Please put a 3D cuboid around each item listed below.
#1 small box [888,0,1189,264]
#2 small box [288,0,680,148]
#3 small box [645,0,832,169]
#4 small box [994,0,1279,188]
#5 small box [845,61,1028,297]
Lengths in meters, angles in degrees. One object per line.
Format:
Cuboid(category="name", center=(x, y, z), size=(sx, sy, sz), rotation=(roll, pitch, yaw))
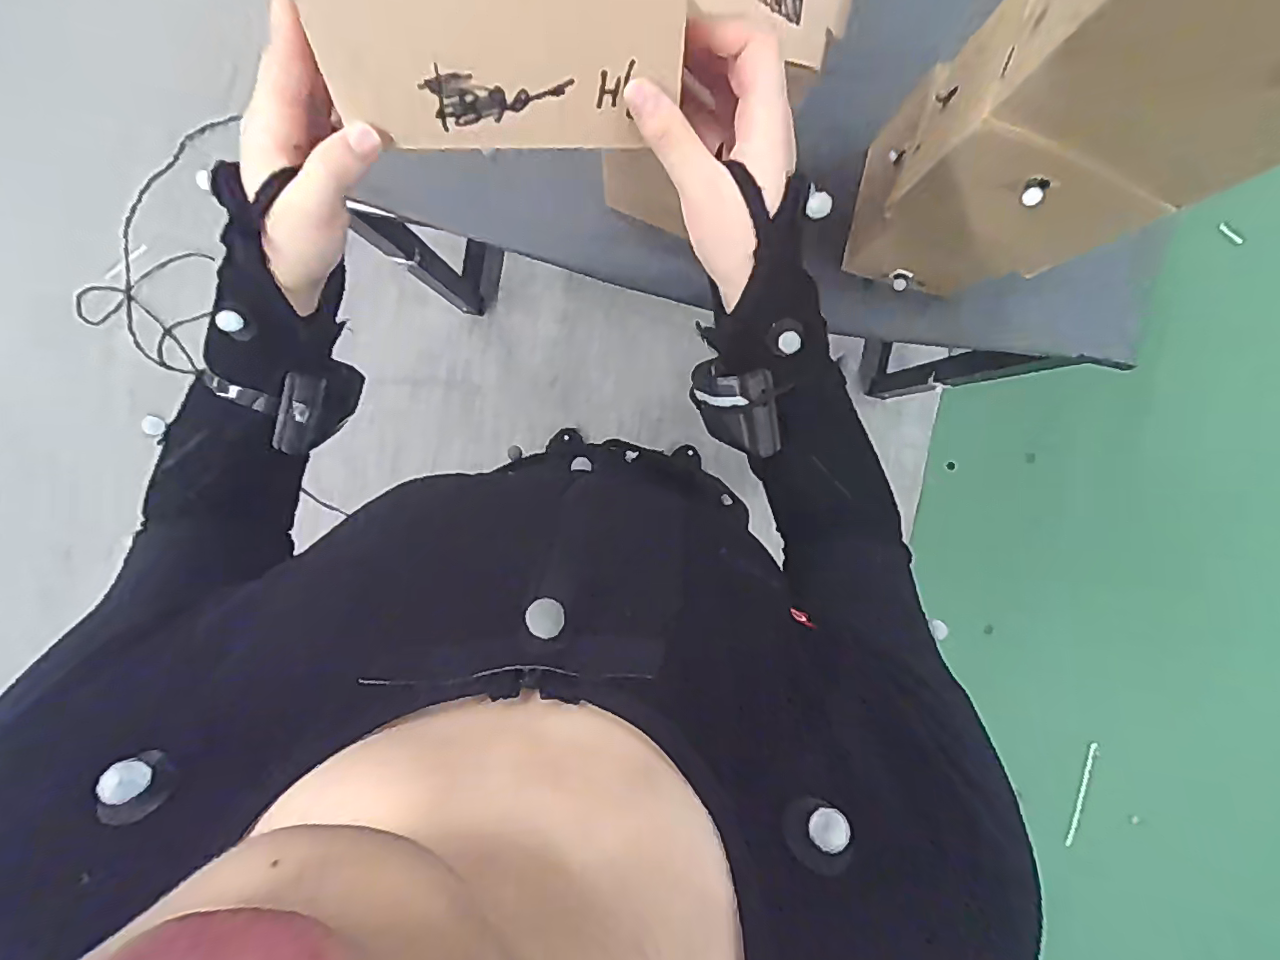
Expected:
Cuboid(category="small box", center=(0.369, -0.321, 0.493), size=(0.179, 0.176, 0.168), rotation=(23, 93, -1))
Cuboid(category="small box", center=(-0.069, -0.285, 0.250), size=(0.168, 0.179, 0.176), rotation=(-2, 56, -4))
Cuboid(category="small box", center=(0.063, -0.410, 0.480), size=(0.179, 0.176, 0.168), rotation=(12, 93, -1))
Cuboid(category="small box", center=(0.374, -0.314, 0.327), size=(0.179, 0.176, 0.168), rotation=(25, 92, -1))
Cuboid(category="small box", center=(0.371, -0.345, 0.654), size=(0.168, 0.176, 0.179), rotation=(12, 94, -1))
